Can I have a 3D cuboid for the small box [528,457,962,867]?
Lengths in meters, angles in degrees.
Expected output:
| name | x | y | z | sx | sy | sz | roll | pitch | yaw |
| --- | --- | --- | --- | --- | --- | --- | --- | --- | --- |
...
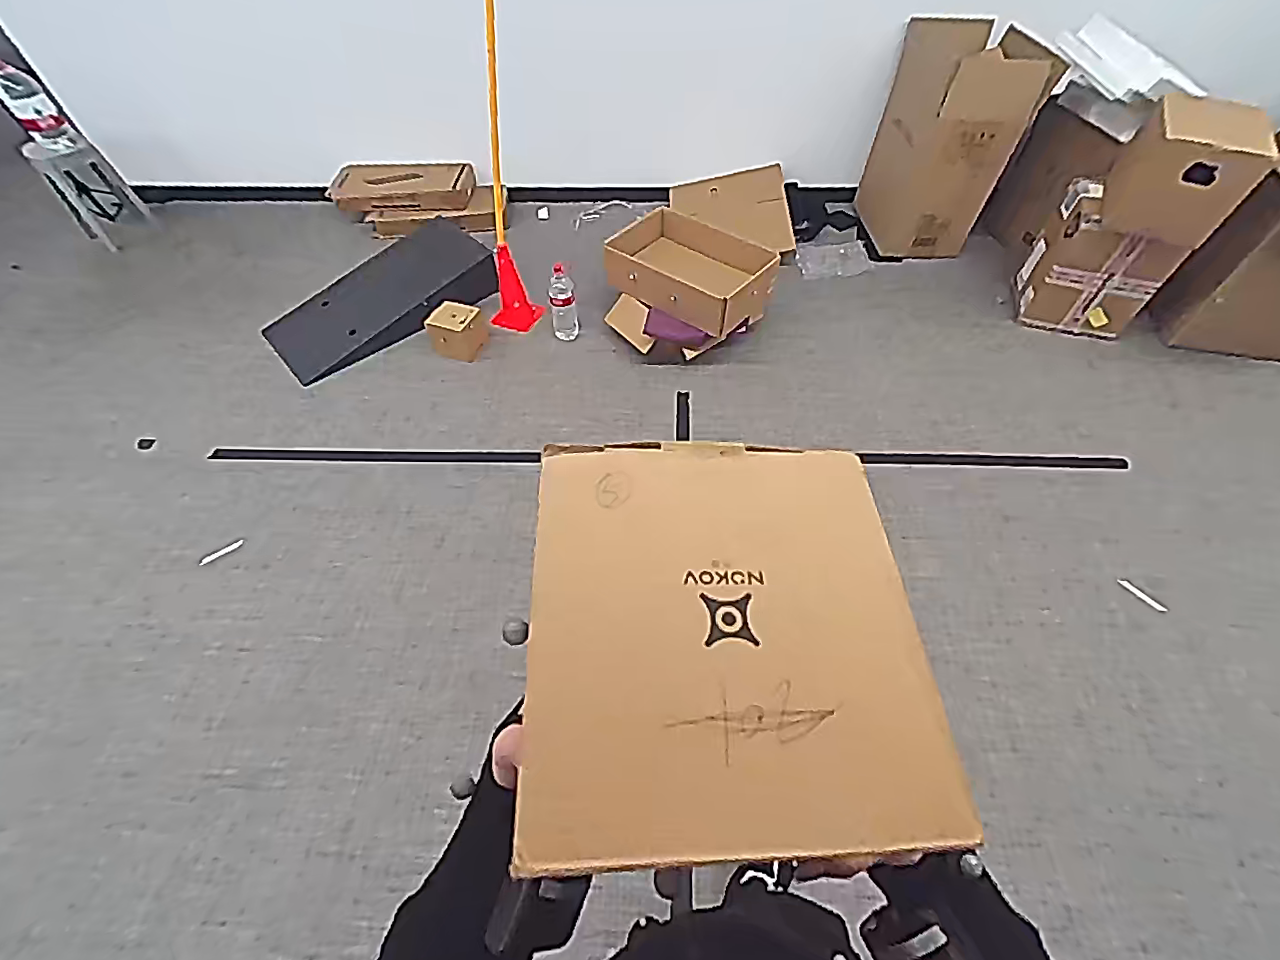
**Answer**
| name | x | y | z | sx | sy | sz | roll | pitch | yaw |
| --- | --- | --- | --- | --- | --- | --- | --- | --- | --- |
| small box | 0.029 | 0.106 | 0.306 | 0.168 | 0.176 | 0.179 | 1 | 57 | -6 |
